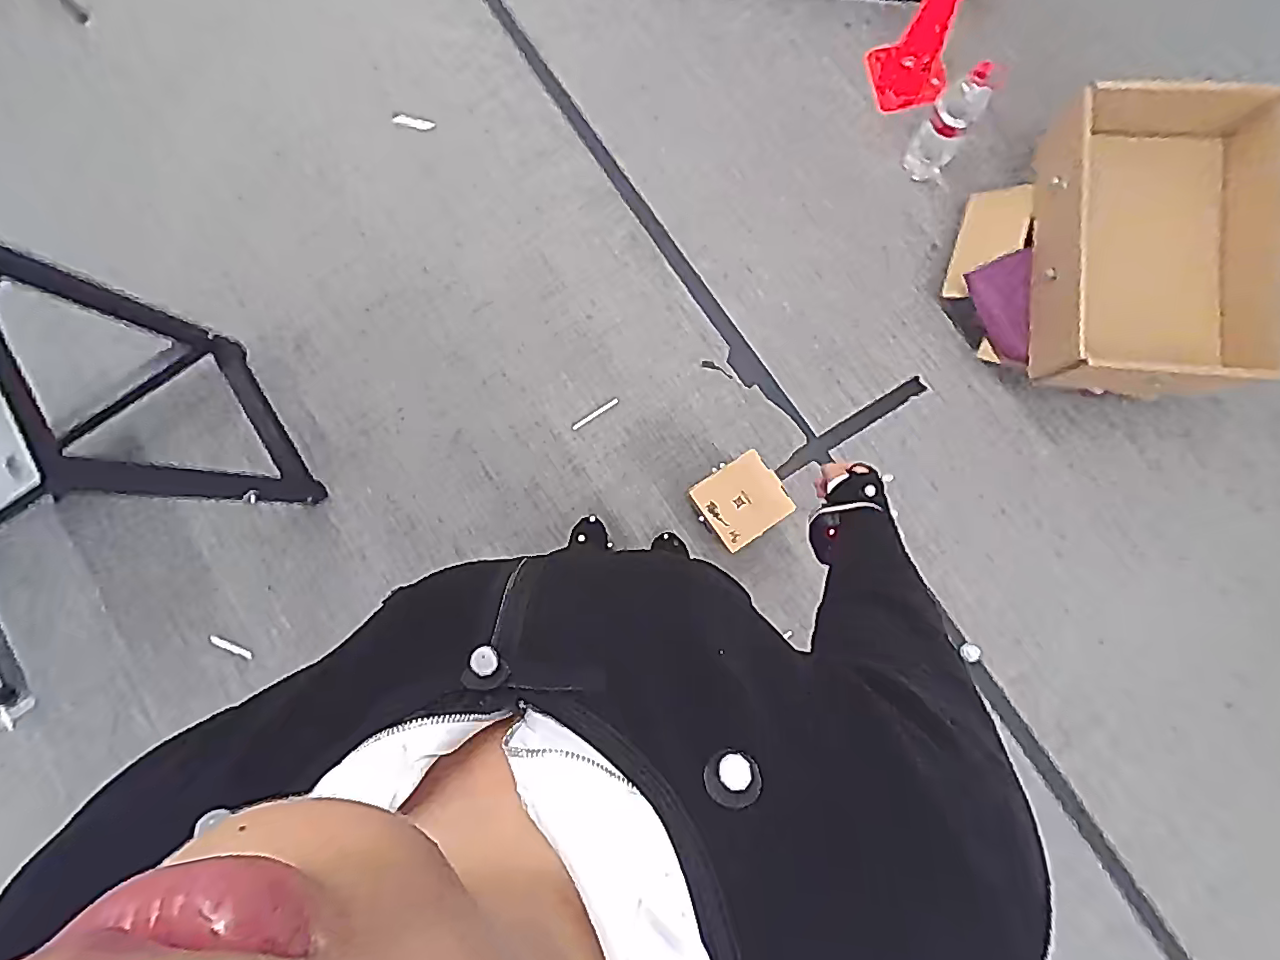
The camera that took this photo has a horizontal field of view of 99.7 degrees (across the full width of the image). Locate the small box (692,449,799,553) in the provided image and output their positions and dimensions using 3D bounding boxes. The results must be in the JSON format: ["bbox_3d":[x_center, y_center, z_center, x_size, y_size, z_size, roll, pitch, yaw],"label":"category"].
[{"bbox_3d":[0.232,0.050,1.250,0.179,0.176,0.168,-35,84,0],"label":"small box"}]
